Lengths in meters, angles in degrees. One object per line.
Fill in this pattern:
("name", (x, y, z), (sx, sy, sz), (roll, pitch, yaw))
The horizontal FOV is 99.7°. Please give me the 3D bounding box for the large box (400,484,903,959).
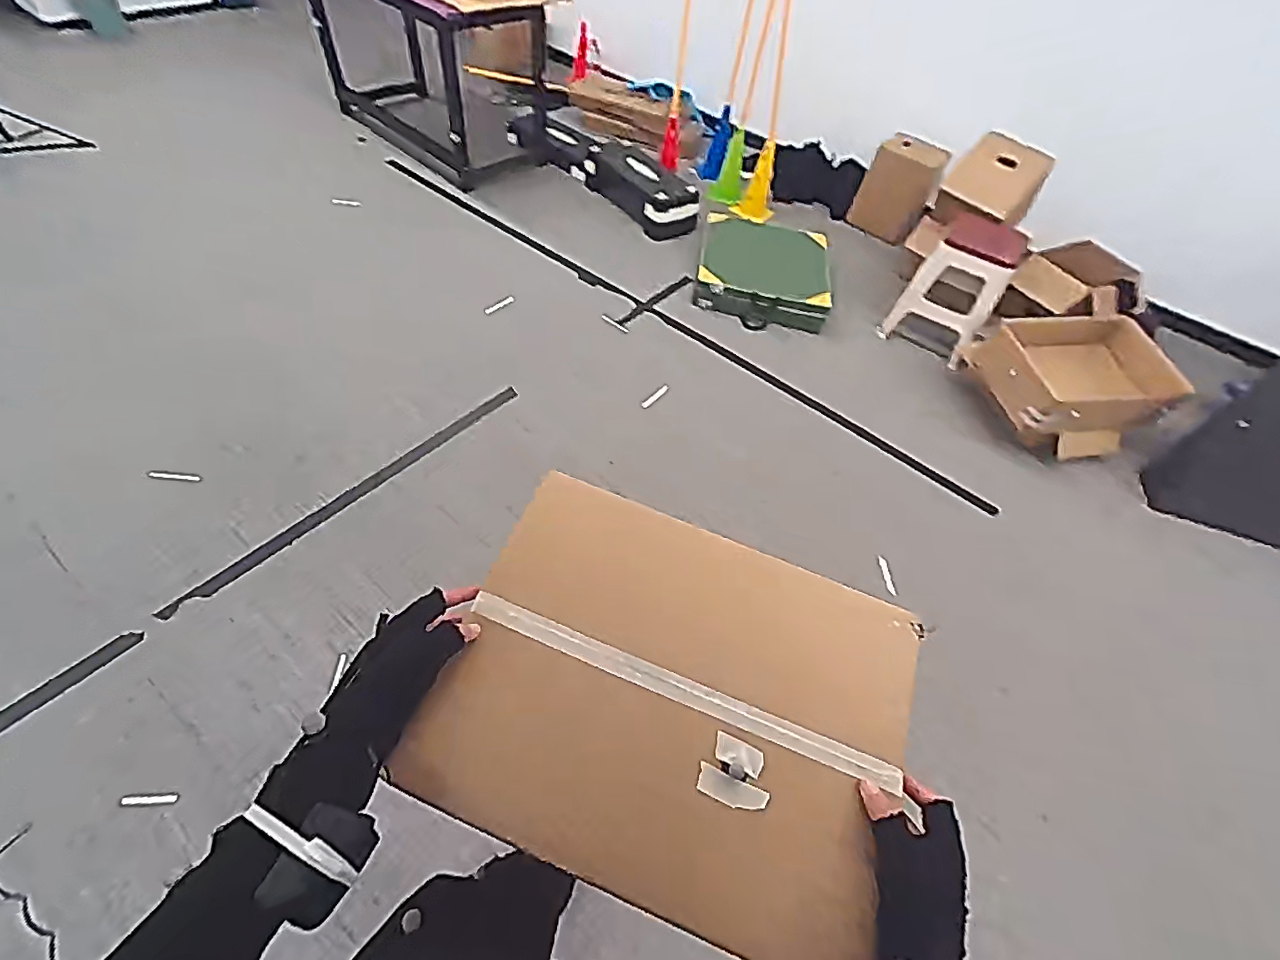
("large box", (0.019, 0.264, 0.631), (0.408, 0.320, 0.320), (22, 61, 6))
